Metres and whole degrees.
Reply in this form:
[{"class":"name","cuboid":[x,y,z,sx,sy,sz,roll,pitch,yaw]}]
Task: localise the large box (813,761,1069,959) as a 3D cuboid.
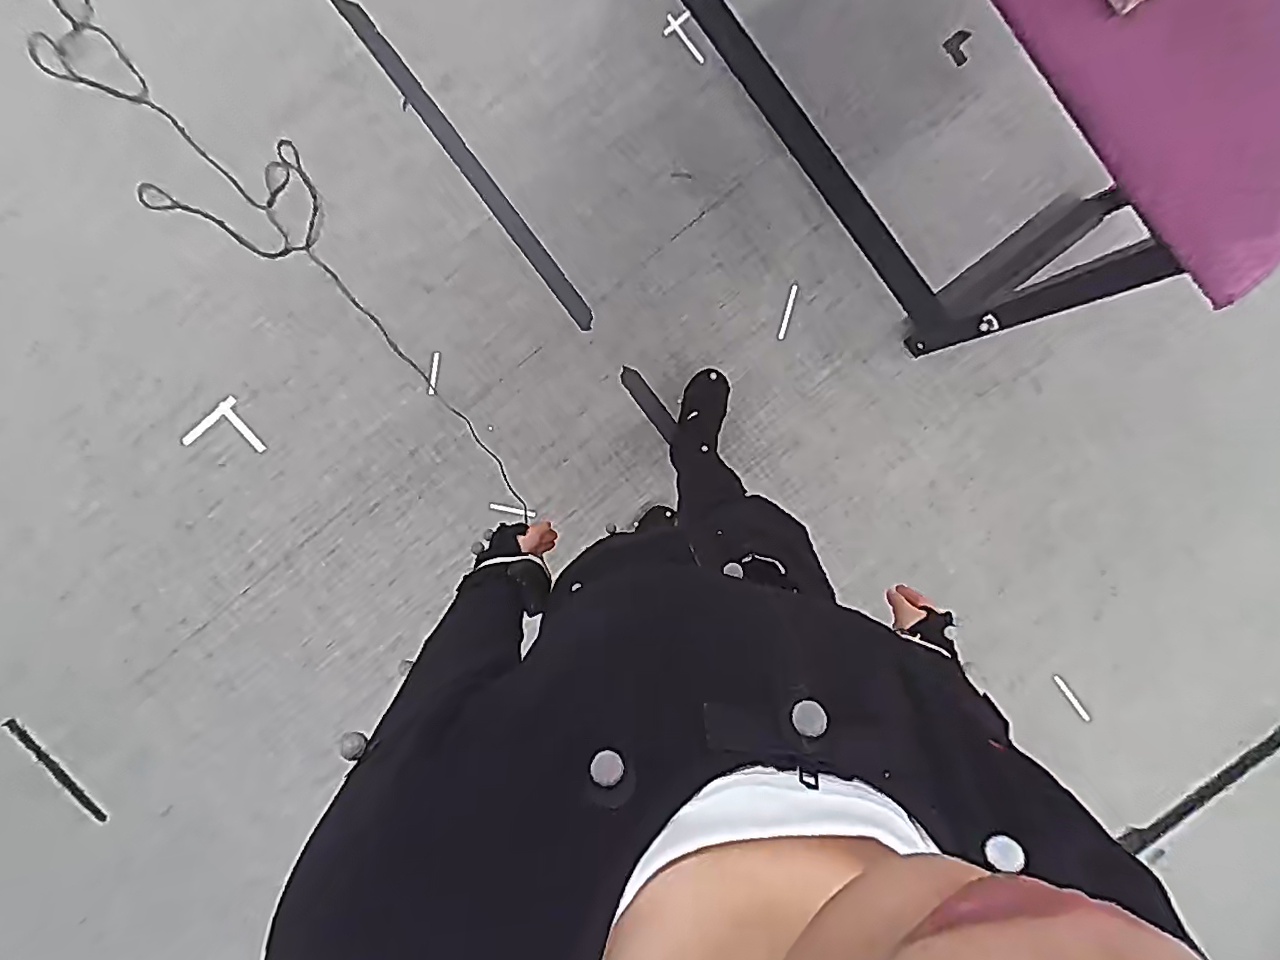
[{"class":"large box","cuboid":[0.697,0.996,1.301,0.320,0.320,0.408,-40,92,2]}]
